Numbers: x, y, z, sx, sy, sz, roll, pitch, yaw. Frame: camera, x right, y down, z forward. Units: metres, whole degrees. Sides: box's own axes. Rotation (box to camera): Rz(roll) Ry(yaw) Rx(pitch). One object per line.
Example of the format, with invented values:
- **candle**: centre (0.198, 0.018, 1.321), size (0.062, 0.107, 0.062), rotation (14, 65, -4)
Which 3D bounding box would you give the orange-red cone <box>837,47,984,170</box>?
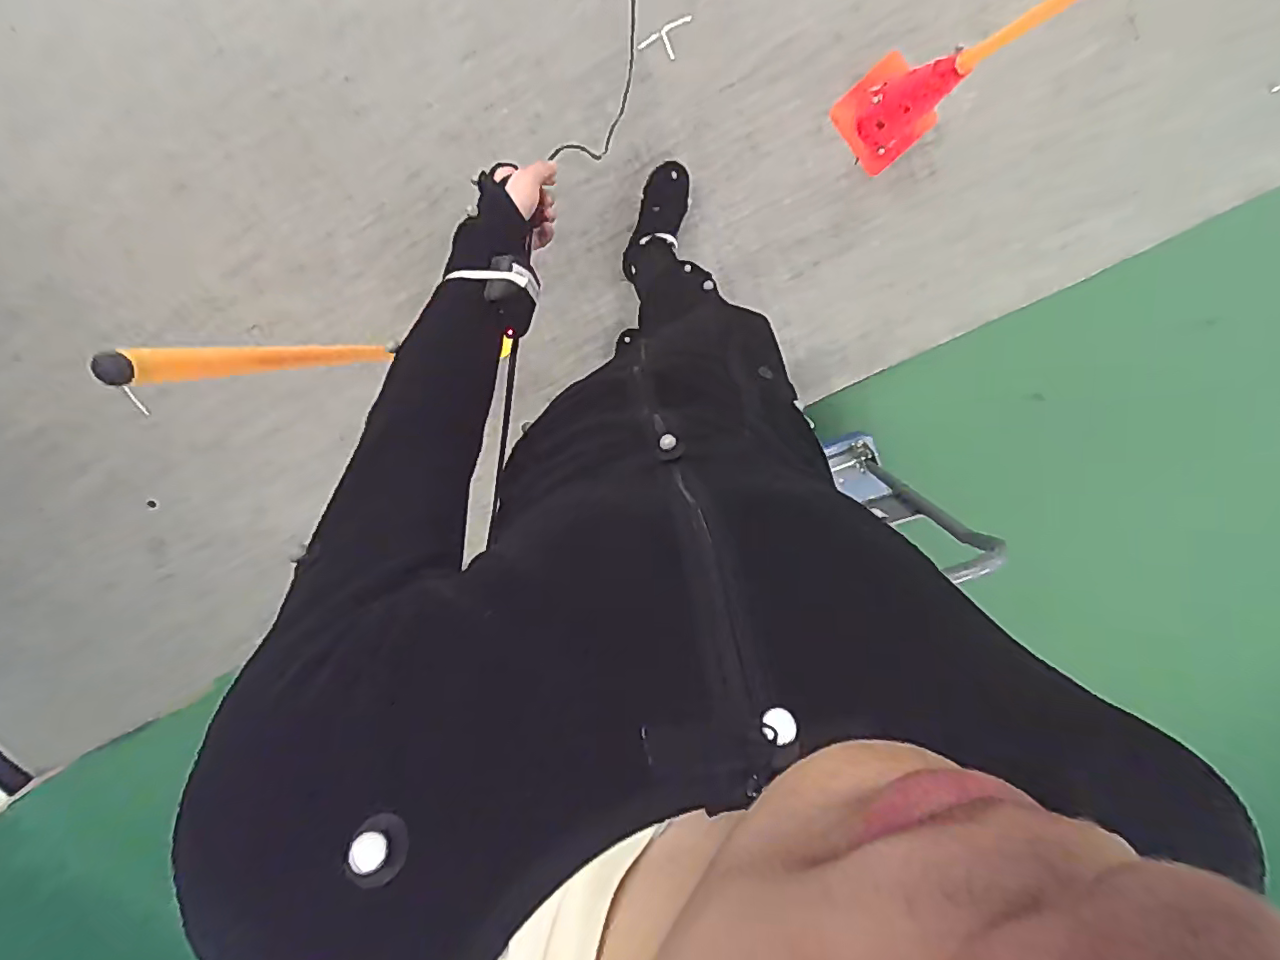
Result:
- **orange-red cone**: centre (0.607, -0.837, 1.154), size (0.199, 0.360, 0.198), rotation (-39, 107, 11)
